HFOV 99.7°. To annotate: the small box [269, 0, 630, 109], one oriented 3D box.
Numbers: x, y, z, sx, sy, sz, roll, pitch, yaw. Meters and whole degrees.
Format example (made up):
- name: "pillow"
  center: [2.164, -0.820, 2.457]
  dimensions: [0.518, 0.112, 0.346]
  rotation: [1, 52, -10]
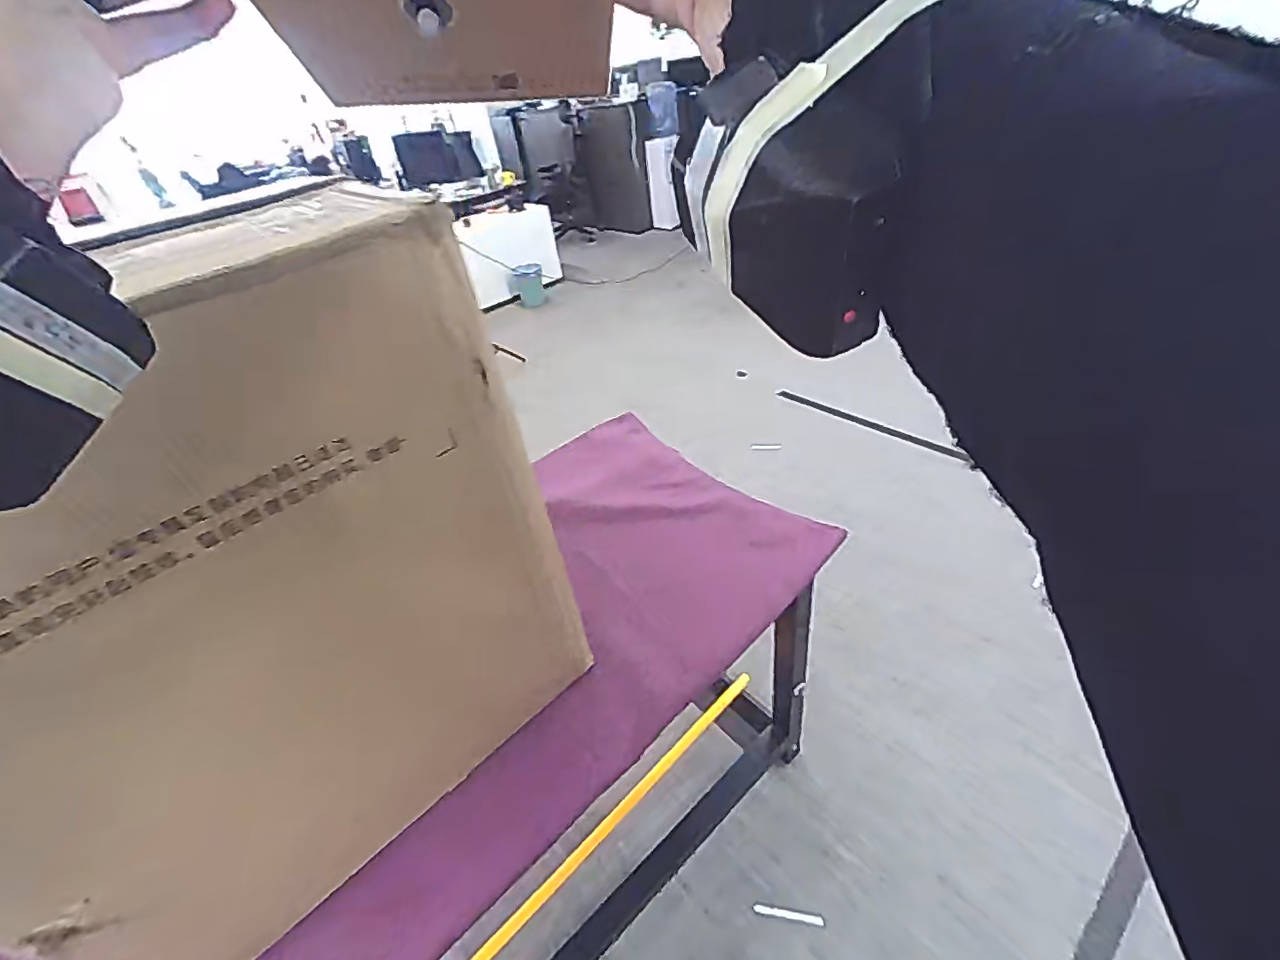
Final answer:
- name: "small box"
  center: [-0.090, -0.297, 0.241]
  dimensions: [0.168, 0.179, 0.176]
  rotation: [-5, 7, -6]
